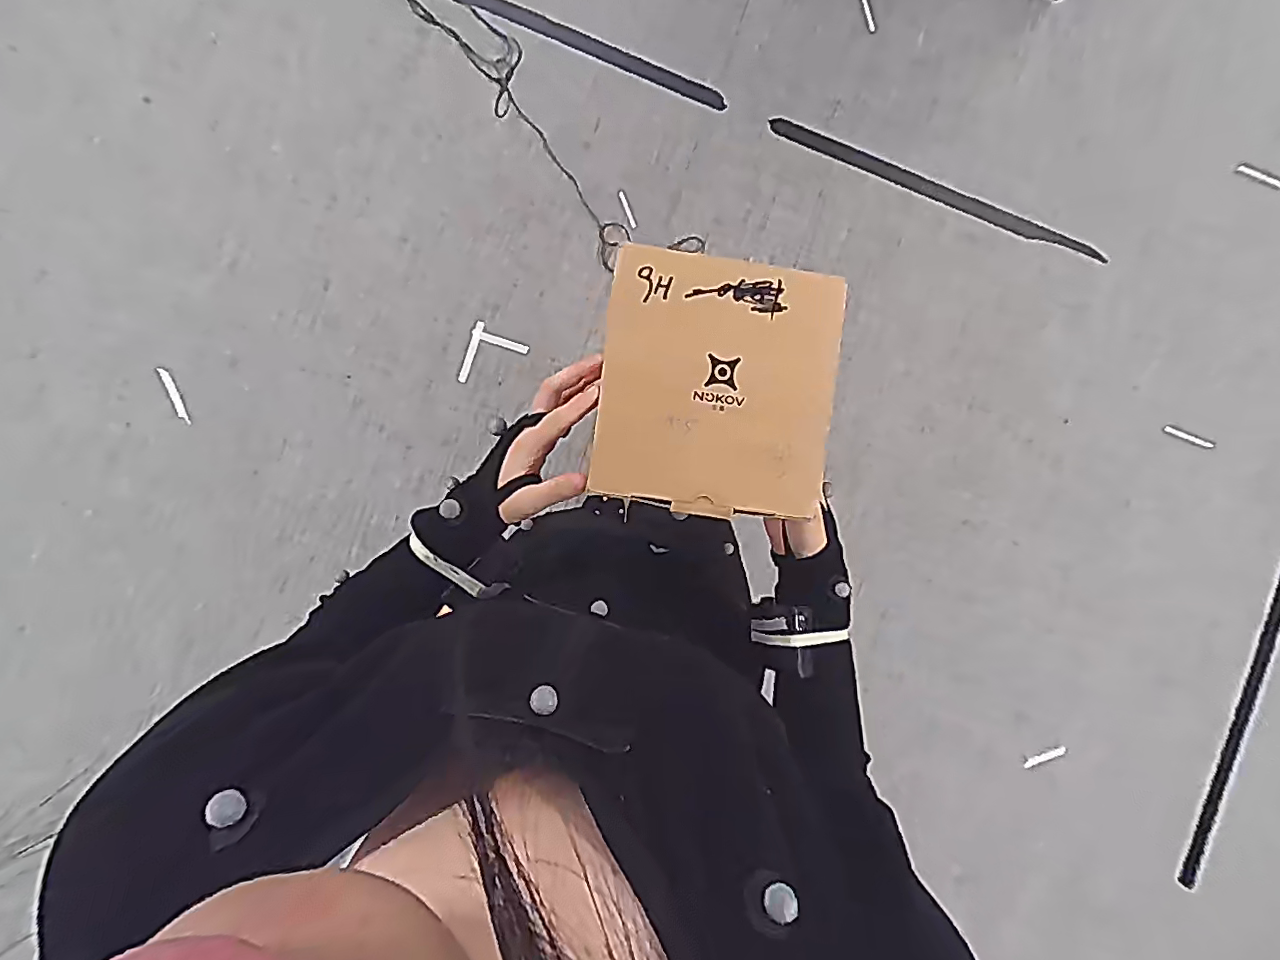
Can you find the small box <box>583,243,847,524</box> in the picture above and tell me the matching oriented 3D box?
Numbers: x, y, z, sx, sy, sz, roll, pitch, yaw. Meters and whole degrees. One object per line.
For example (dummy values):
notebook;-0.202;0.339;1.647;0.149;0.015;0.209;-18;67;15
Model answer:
small box;0.047;-0.069;0.455;0.168;0.176;0.179;8;91;-5
